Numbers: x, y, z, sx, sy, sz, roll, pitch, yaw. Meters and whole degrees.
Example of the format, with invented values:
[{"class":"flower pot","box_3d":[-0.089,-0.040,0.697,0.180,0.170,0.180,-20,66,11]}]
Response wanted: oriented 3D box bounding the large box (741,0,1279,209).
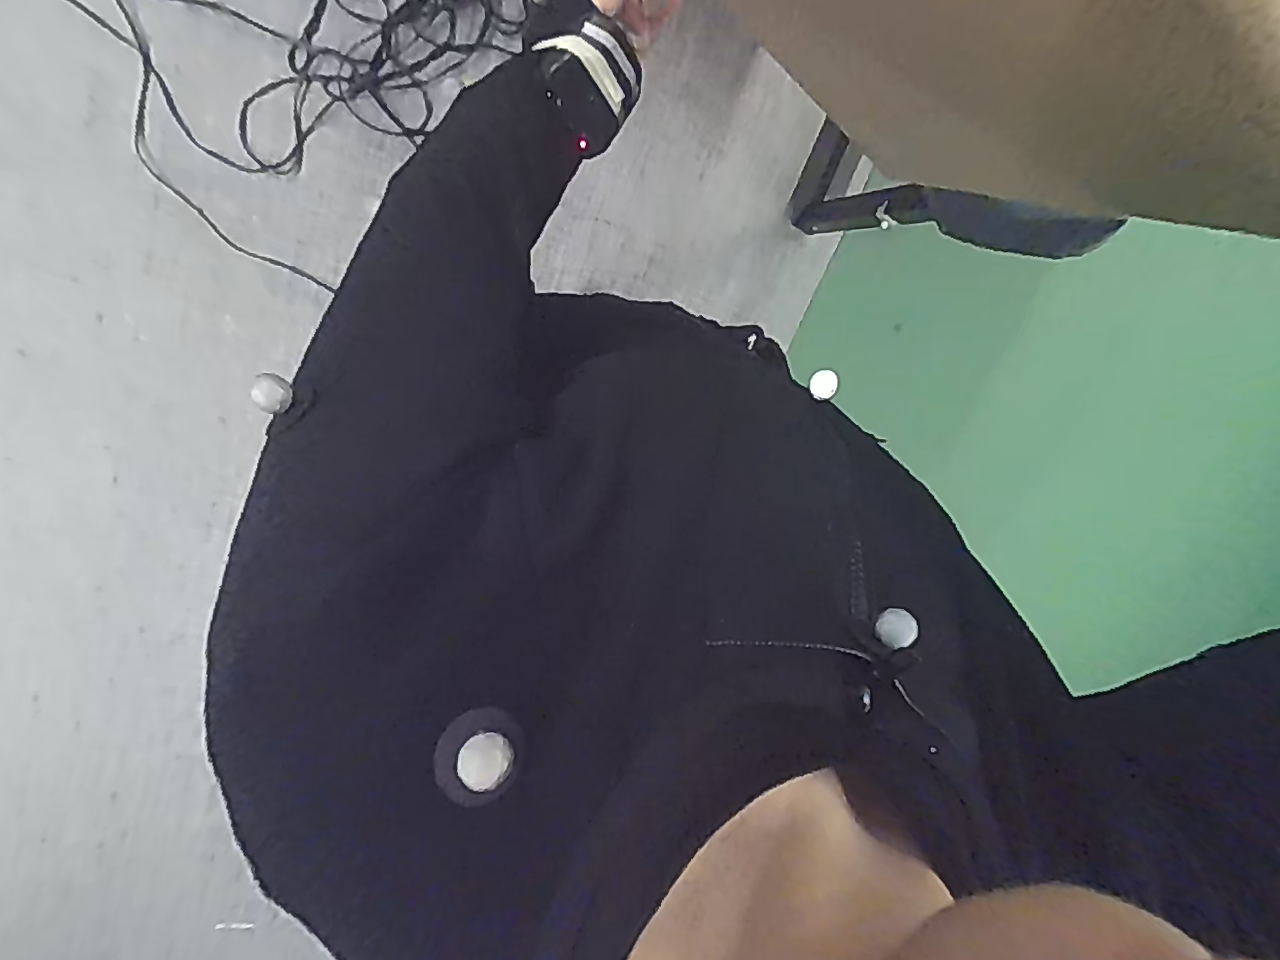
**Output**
[{"class":"large box","box_3d":[0.204,-0.378,0.234,0.320,0.408,0.320,30,117,-21]}]
